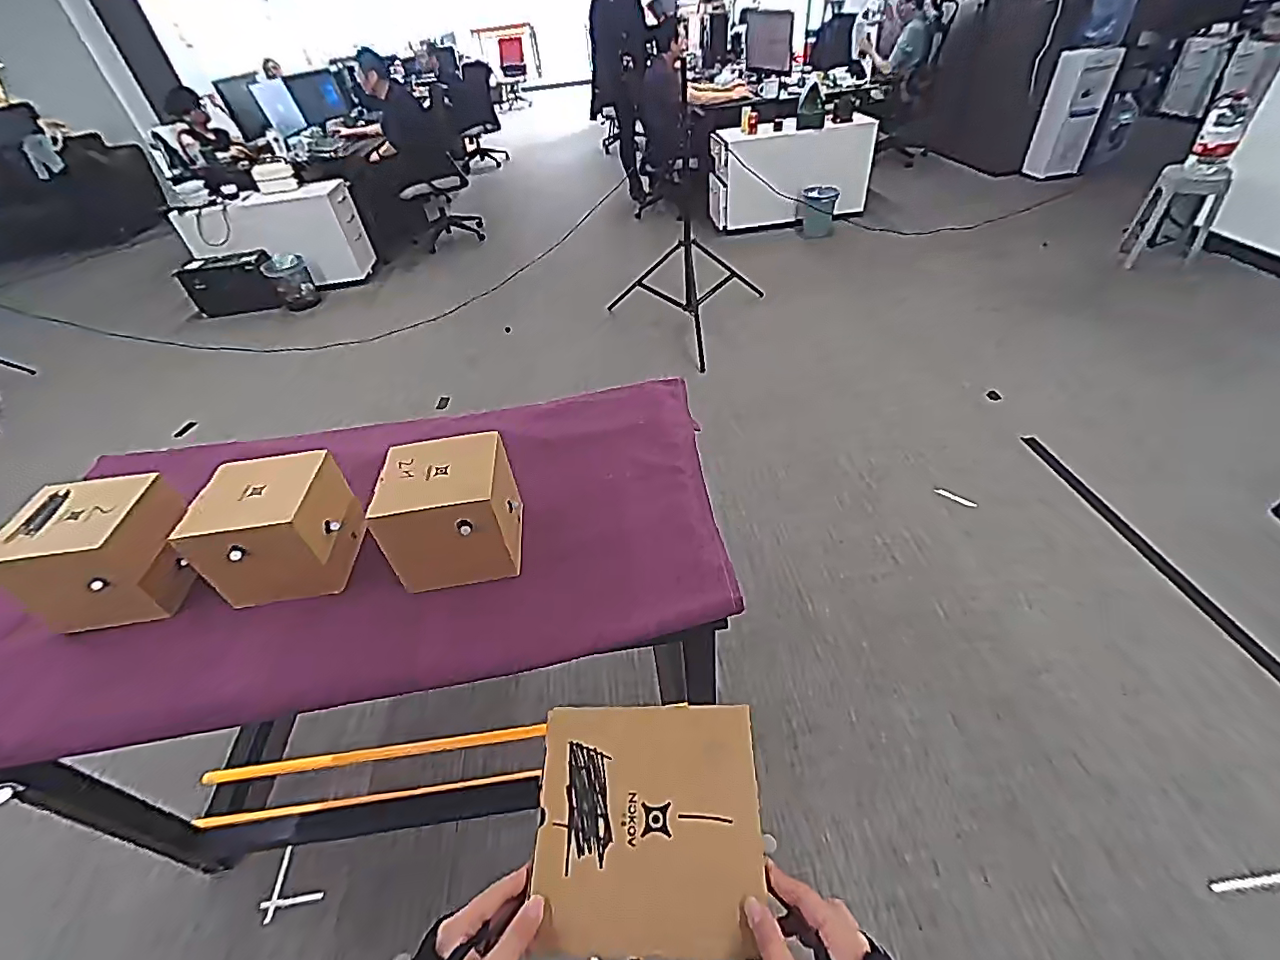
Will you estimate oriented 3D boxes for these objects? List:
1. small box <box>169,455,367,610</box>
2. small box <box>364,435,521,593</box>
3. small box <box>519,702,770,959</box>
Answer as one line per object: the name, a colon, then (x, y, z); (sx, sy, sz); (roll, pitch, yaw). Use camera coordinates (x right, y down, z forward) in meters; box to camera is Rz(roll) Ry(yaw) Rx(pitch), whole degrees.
small box: (-0.568, 0.085, 0.861); (0.179, 0.176, 0.168); (-9, 42, -1)
small box: (-0.292, 0.055, 0.848); (0.179, 0.176, 0.168); (-10, 40, -2)
small box: (0.014, 0.306, 0.474); (0.179, 0.176, 0.168); (-4, 51, 6)
